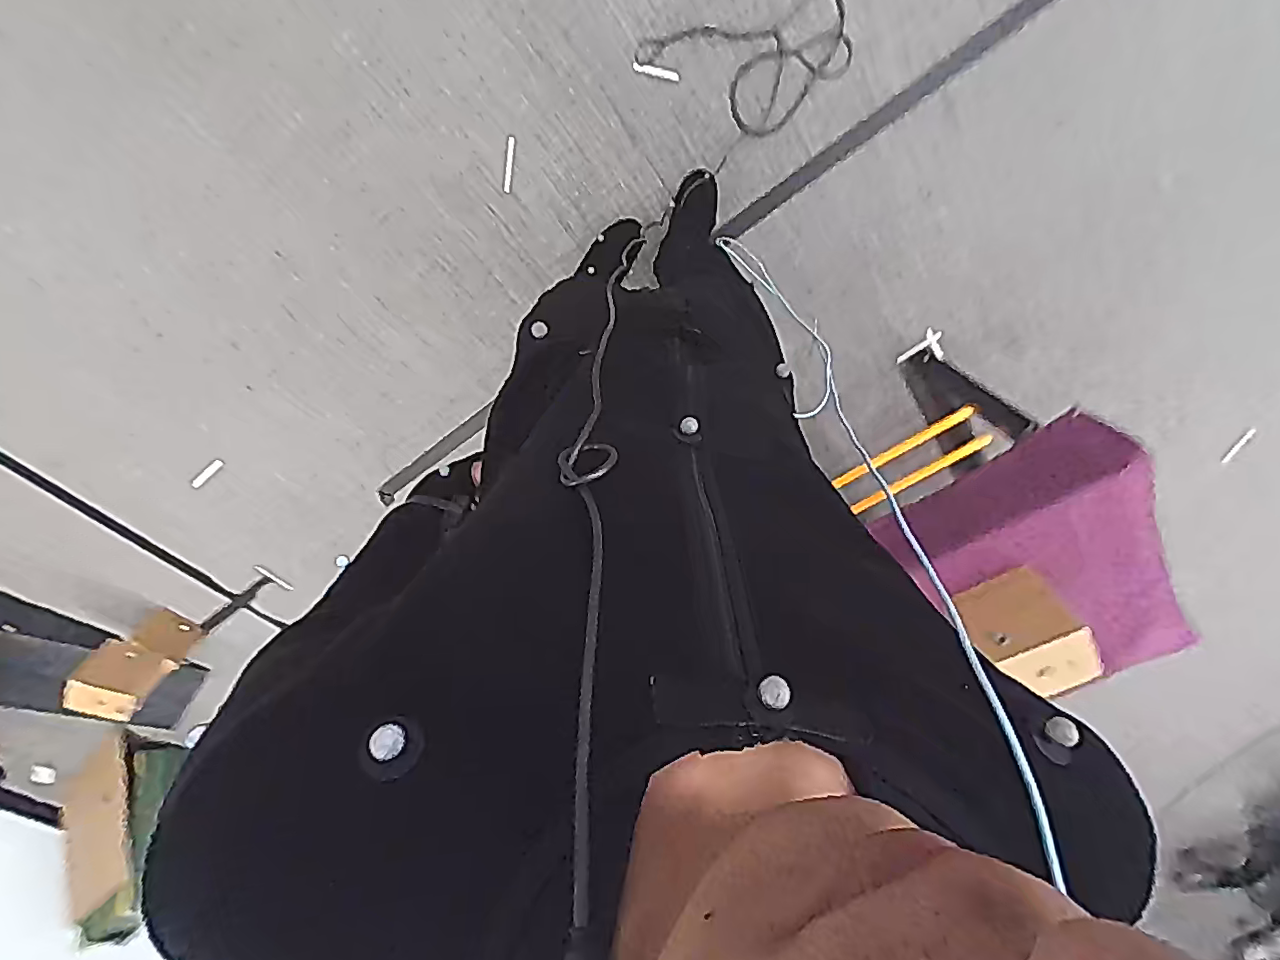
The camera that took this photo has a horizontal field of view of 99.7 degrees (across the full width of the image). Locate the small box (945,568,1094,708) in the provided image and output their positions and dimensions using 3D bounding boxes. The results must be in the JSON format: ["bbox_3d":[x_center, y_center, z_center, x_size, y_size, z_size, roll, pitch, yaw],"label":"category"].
[{"bbox_3d":[0.739,0.309,1.072,0.179,0.176,0.168,-31,119,16],"label":"small box"}]
